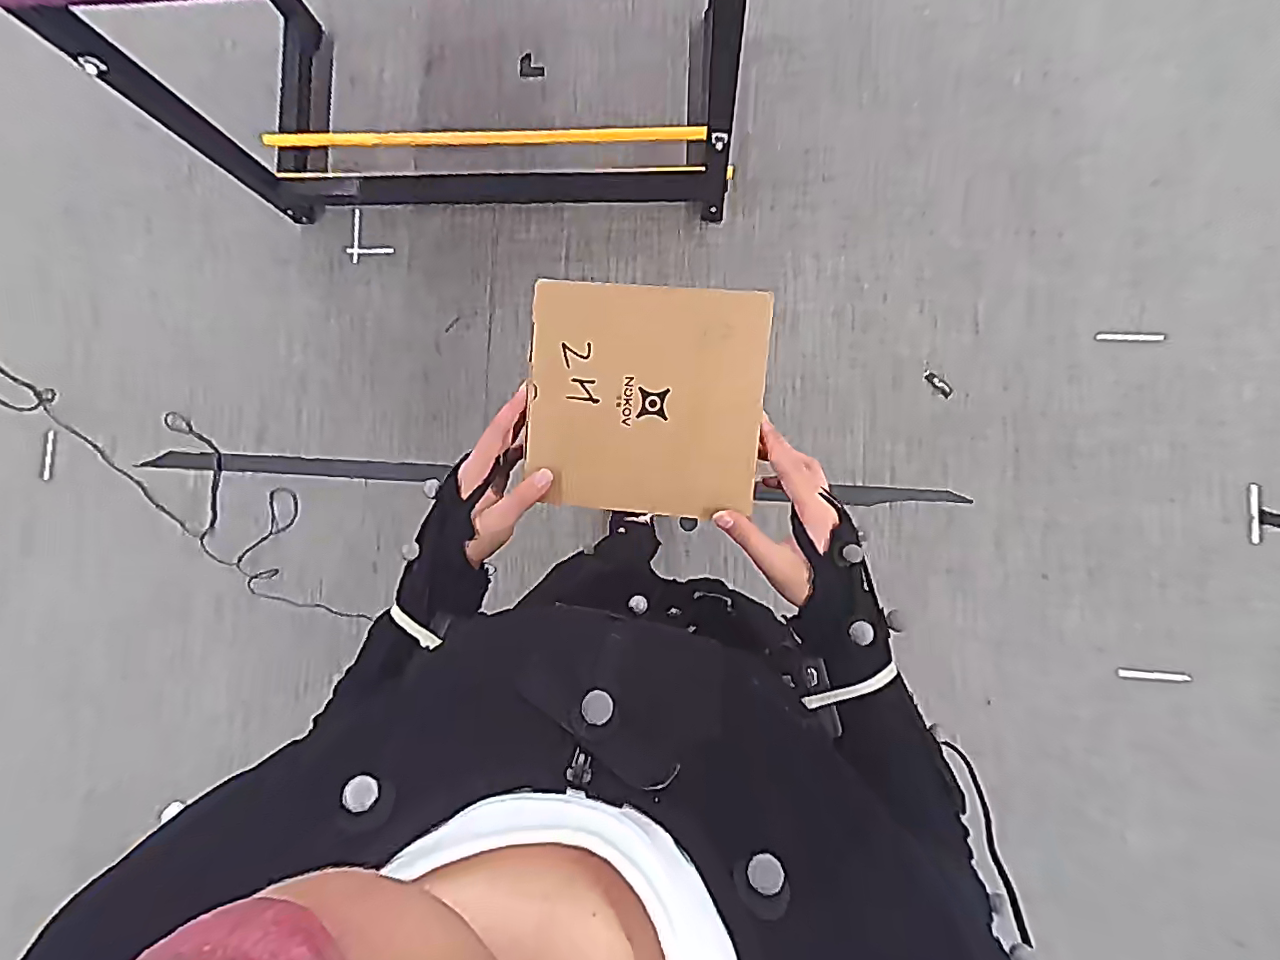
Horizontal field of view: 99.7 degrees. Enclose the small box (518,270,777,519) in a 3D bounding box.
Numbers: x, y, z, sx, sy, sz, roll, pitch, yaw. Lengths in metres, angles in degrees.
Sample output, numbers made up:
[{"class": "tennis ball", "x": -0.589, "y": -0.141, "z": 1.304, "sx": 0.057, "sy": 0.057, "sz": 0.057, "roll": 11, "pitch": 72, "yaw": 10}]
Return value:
[{"class": "small box", "x": 0.011, "y": -0.069, "z": 0.469, "sx": 0.179, "sy": 0.176, "sz": 0.168, "roll": 6, "pitch": 95, "yaw": 7}]
